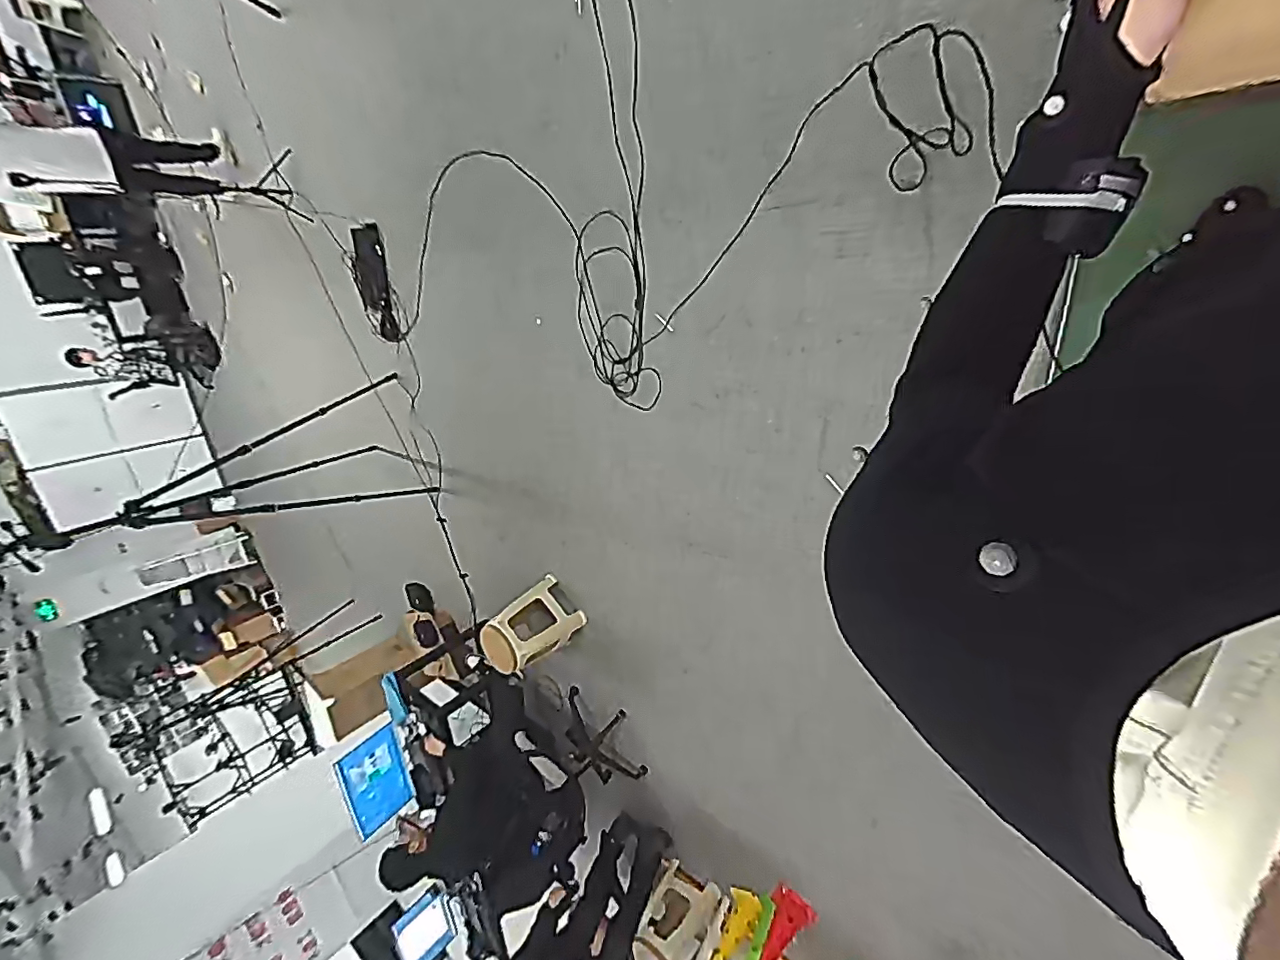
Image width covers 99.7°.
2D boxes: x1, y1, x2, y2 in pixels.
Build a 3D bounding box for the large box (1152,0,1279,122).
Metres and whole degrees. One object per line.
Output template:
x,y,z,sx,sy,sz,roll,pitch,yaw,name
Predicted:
0.601,-0.441,0.307,0.408,0.320,0.320,15,122,42,large box
